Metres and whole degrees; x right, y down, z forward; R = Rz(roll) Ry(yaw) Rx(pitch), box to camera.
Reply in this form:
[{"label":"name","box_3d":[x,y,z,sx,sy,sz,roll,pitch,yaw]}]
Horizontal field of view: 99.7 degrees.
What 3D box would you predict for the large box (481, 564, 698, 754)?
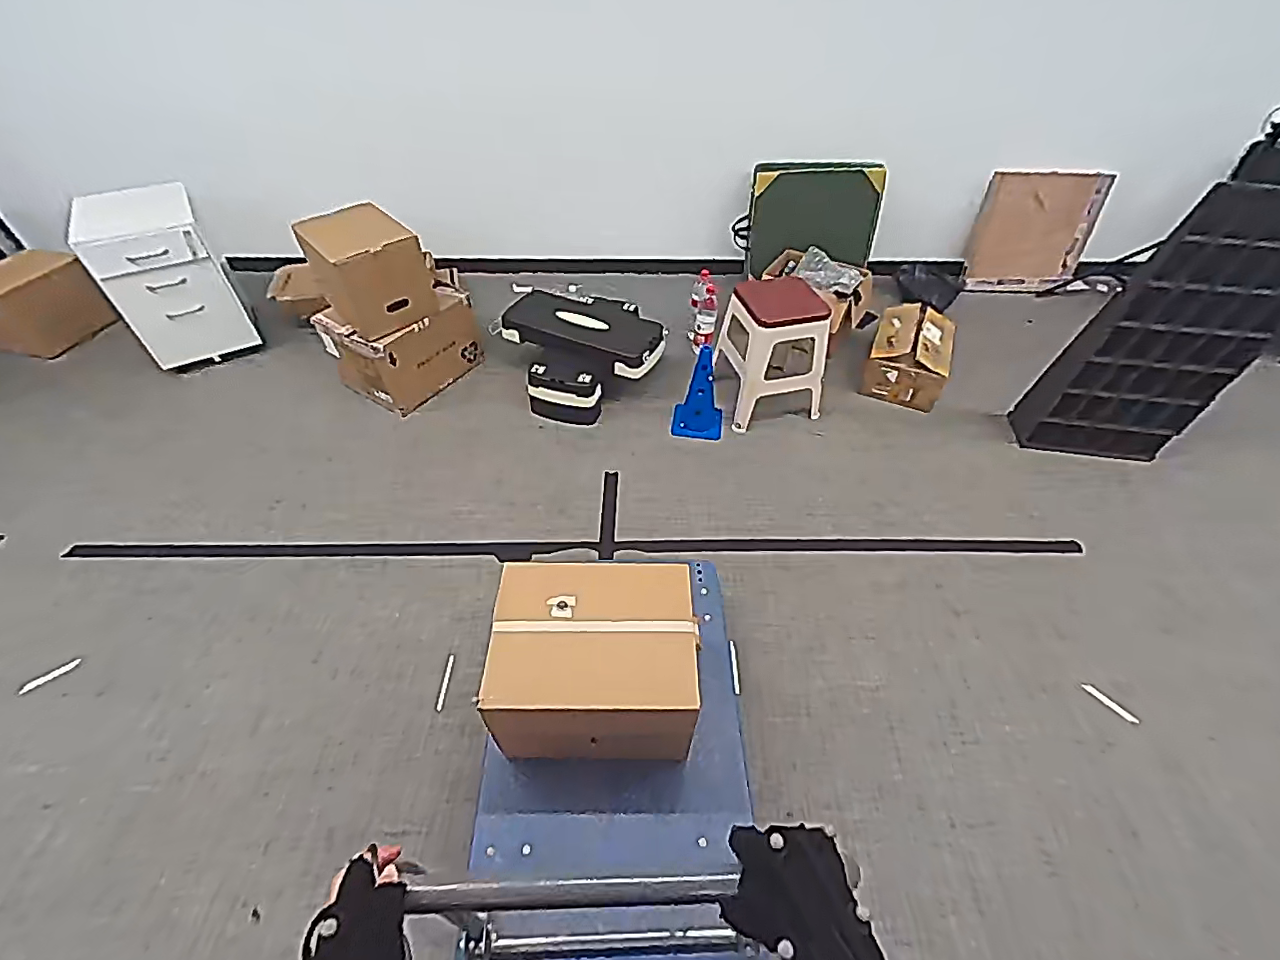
[{"label":"large box","box_3d":[-0.093,0.400,1.193,0.408,0.320,0.320,0,48,0]}]
